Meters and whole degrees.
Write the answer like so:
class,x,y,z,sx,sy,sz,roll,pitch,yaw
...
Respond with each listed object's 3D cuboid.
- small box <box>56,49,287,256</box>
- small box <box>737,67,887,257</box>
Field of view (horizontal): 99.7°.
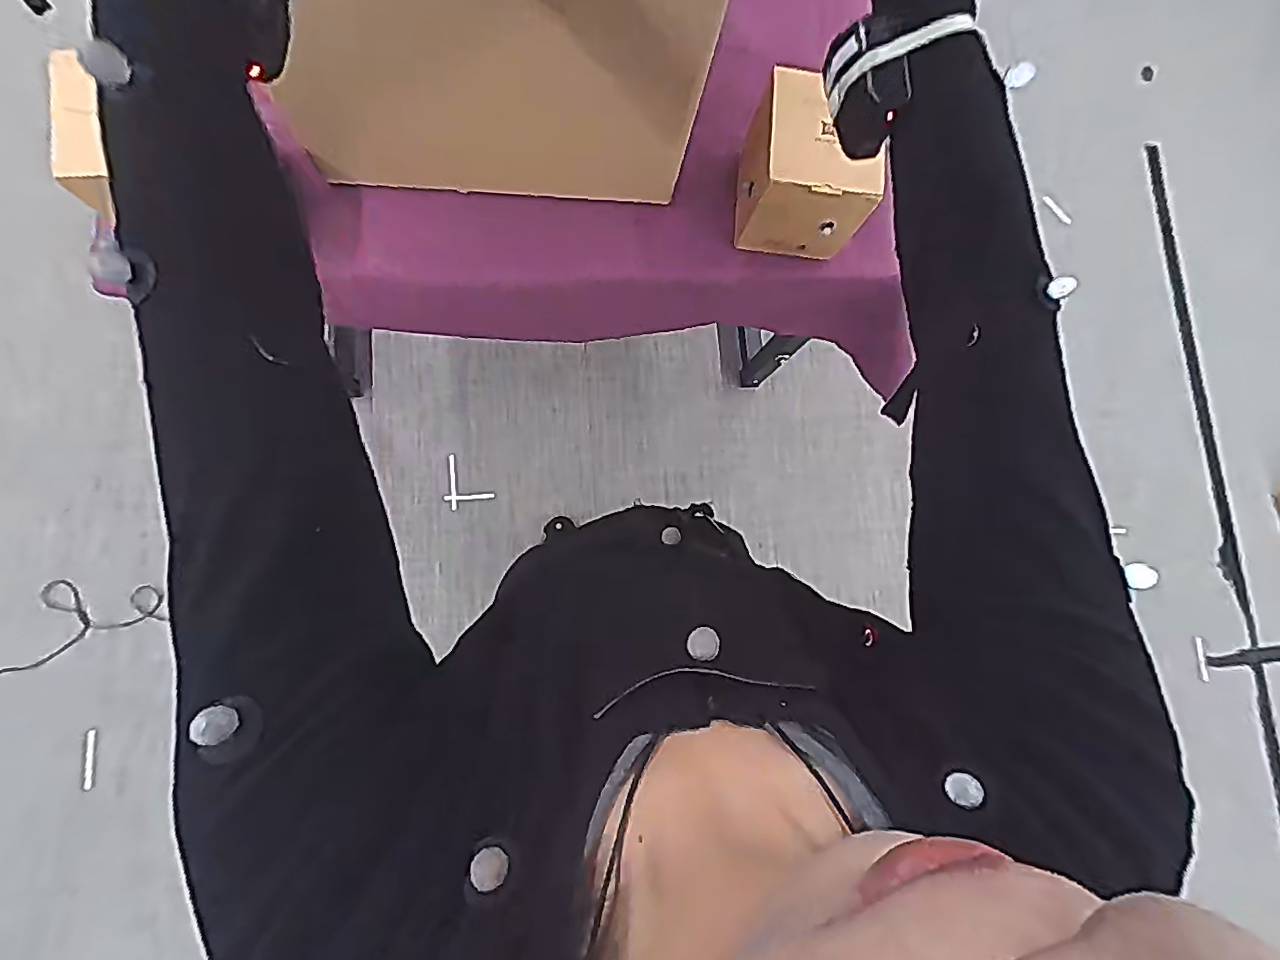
class,x,y,z,sx,sy,sz,roll,pitch,yaw
small box,-0.590,-0.415,0.707,0.179,0.176,0.168,-7,82,-9
small box,0.251,-0.466,0.819,0.168,0.176,0.179,5,81,-7
